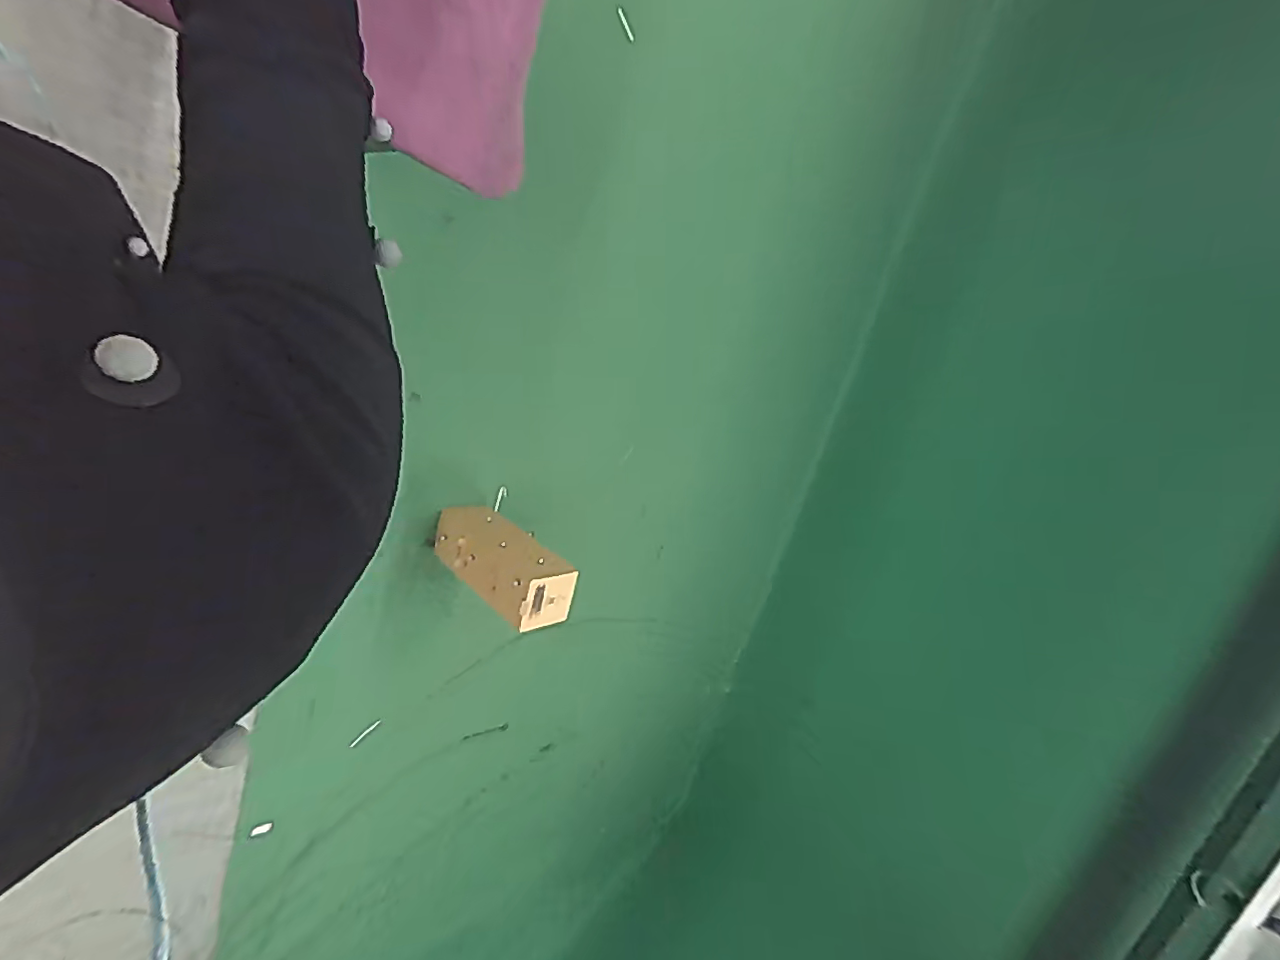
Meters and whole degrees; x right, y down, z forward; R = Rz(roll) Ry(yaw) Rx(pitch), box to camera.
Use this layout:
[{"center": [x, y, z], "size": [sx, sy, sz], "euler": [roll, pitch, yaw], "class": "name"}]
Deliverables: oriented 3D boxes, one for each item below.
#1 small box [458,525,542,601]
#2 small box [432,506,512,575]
[{"center": [-0.435, 0.248, 1.676], "size": [0.179, 0.176, 0.168], "euler": [-2, 113, -47], "class": "small box"}, {"center": [-0.550, 0.191, 1.775], "size": [0.179, 0.176, 0.168], "euler": [0, 111, -49], "class": "small box"}]
